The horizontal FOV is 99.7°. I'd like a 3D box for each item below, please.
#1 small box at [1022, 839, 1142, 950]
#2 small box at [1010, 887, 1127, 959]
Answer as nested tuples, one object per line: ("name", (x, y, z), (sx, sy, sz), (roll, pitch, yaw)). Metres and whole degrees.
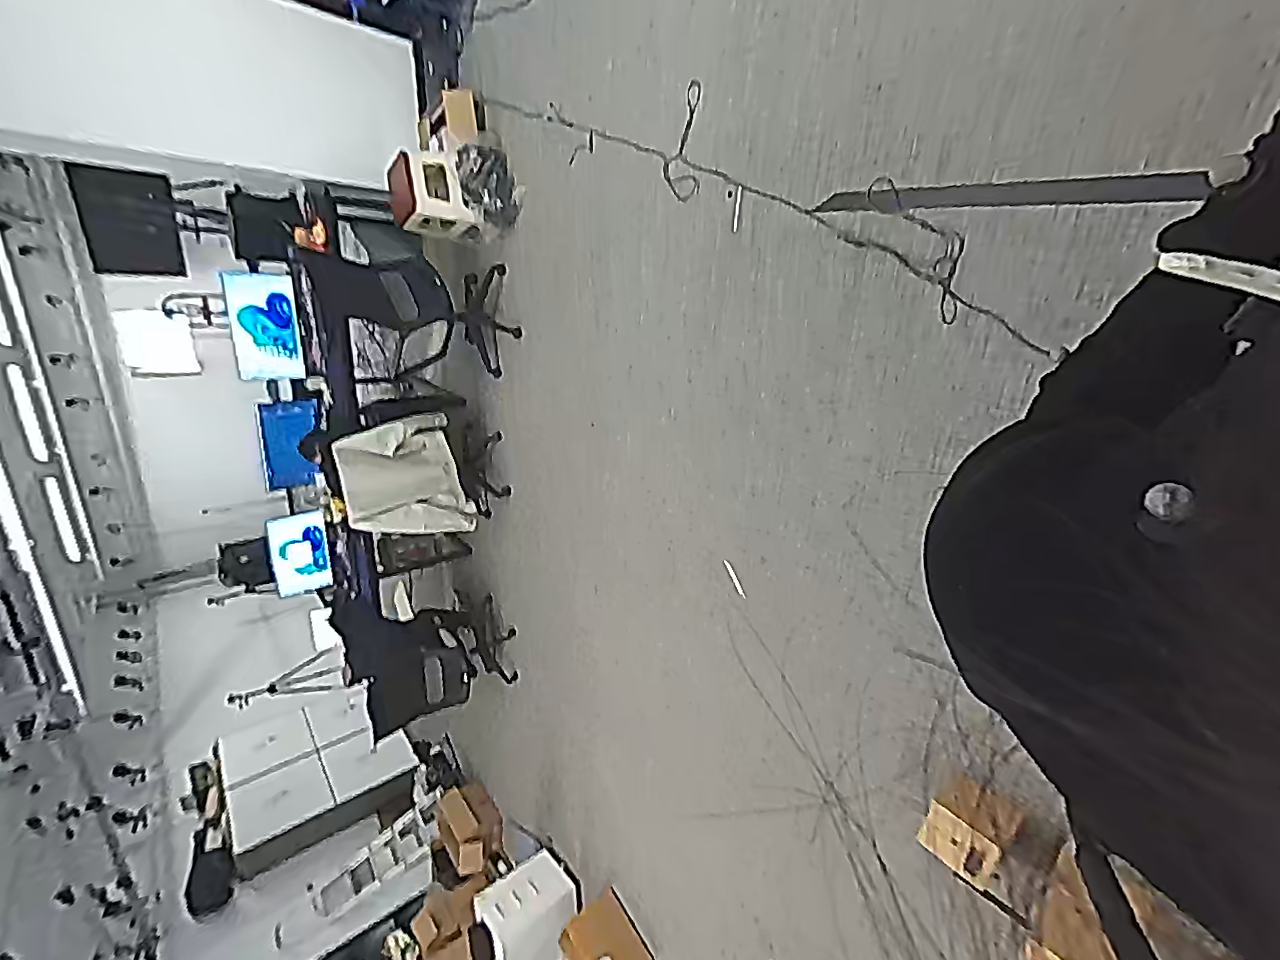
("small box", (1.071, 1.032, 1.308), (0.168, 0.176, 0.179), (28, 120, 42))
("small box", (0.948, 1.072, 1.205), (0.168, 0.176, 0.179), (24, 119, 44))
